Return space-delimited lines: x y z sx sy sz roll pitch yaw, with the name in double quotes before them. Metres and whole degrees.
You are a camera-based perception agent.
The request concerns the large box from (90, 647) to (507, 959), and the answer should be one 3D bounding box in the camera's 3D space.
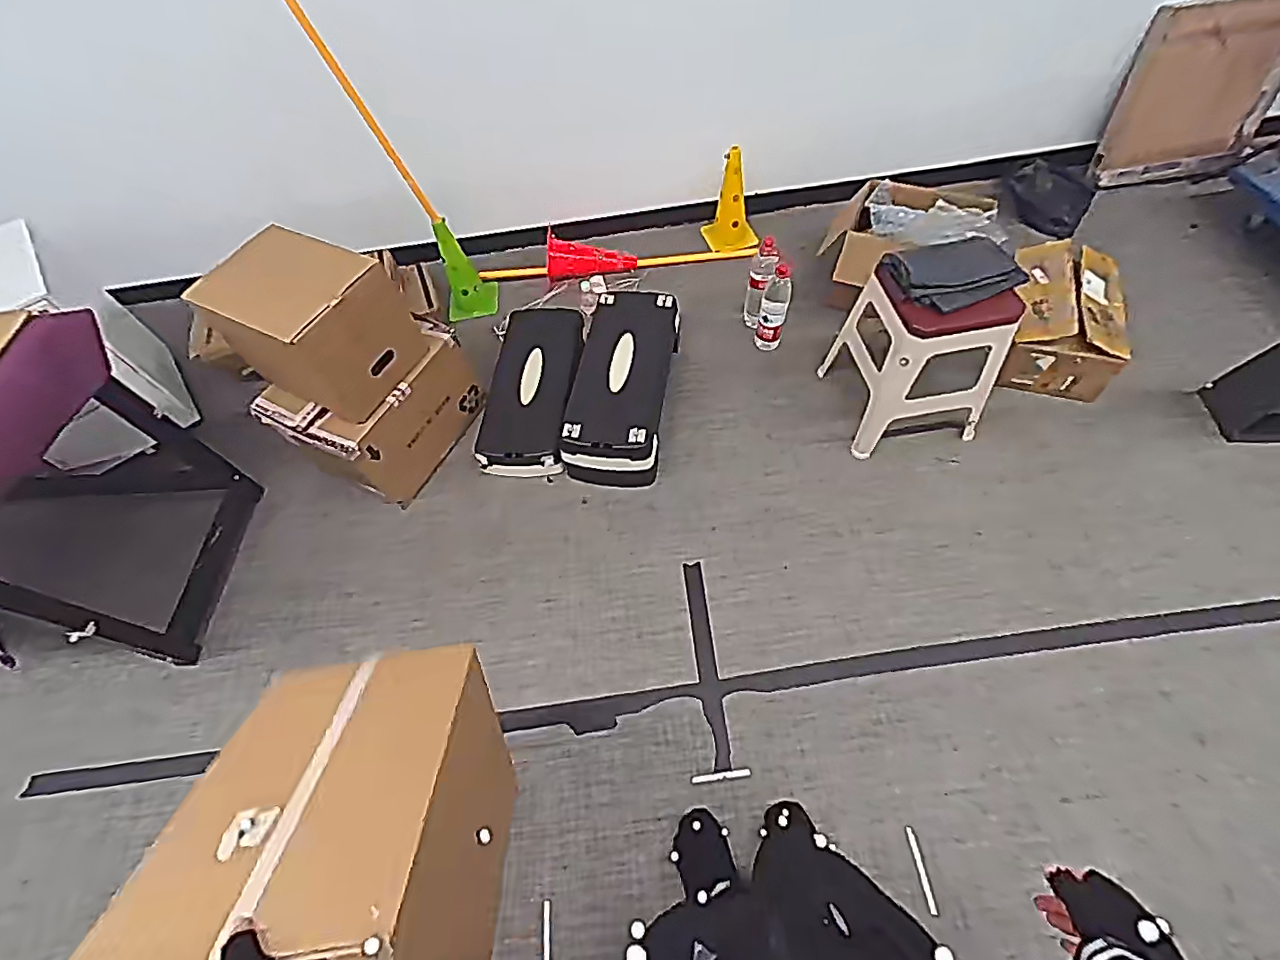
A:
"large box" -0.386 0.504 0.746 0.320 0.320 0.408 -9 27 -1
